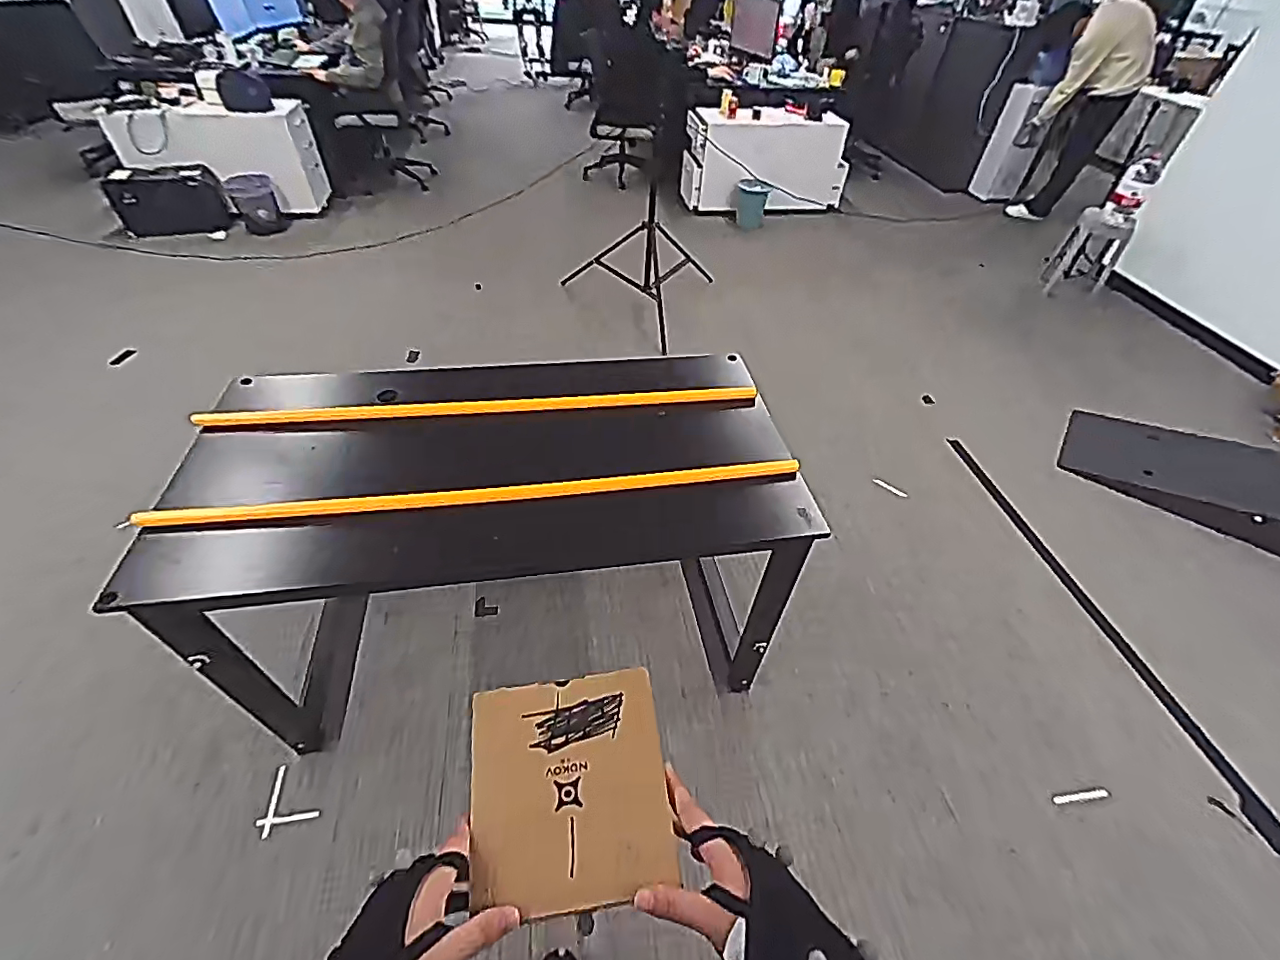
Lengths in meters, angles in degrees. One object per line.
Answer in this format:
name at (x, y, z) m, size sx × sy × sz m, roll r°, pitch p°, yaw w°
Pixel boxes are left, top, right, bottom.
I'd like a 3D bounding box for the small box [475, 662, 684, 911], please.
small box at (-0.055, 0.302, 0.532) m, size 0.168 × 0.176 × 0.179 m, roll -7°, pitch 53°, yaw -4°
